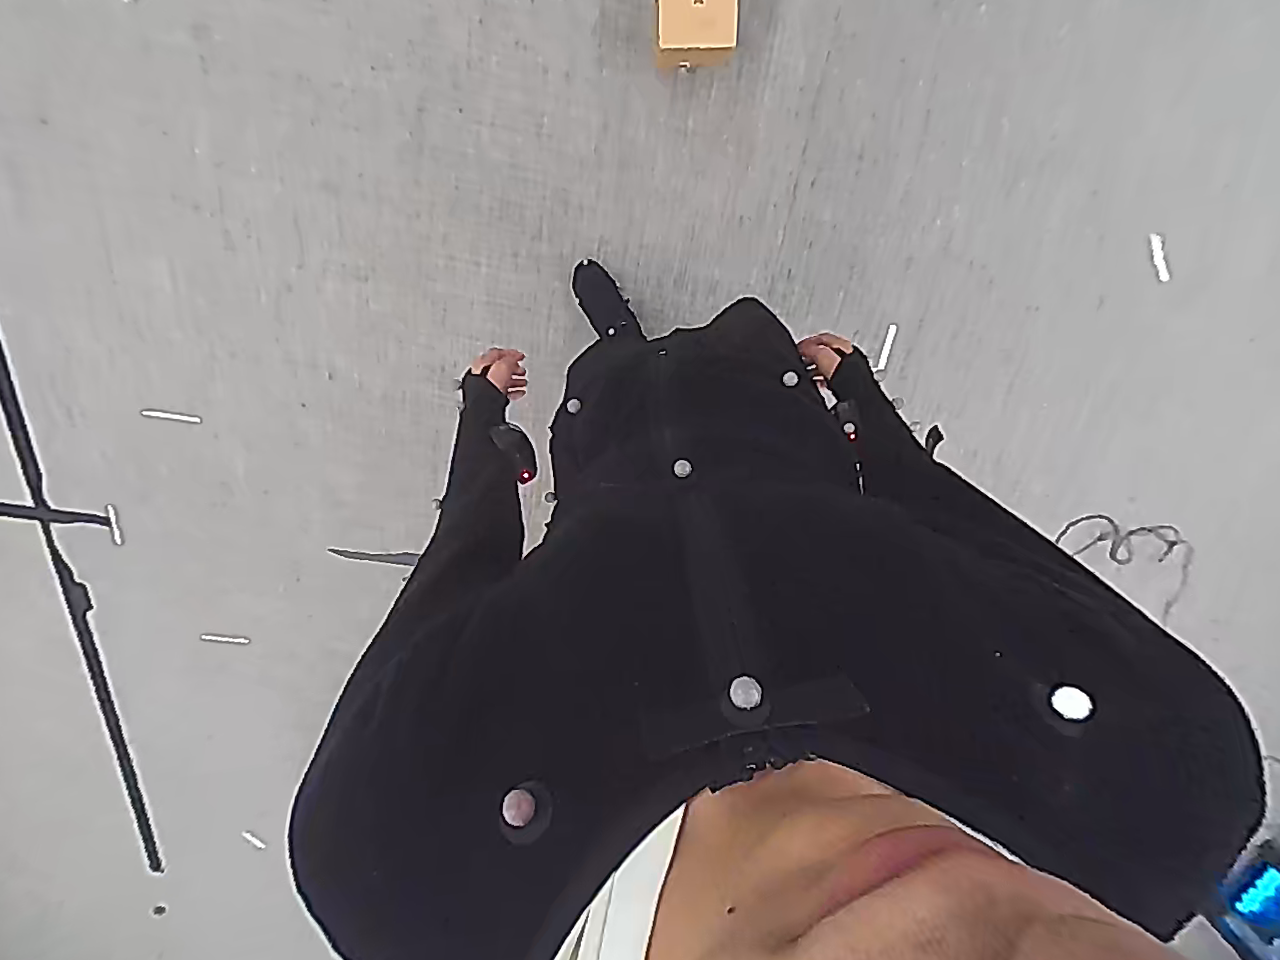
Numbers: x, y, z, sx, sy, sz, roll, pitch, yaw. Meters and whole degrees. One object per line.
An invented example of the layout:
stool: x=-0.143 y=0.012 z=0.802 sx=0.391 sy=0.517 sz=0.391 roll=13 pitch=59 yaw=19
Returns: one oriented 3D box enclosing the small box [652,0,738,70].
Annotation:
small box: x=0.114 y=-1.019 z=1.170 sx=0.168 sy=0.176 sz=0.179 roll=-2 pitch=114 yaw=-2
